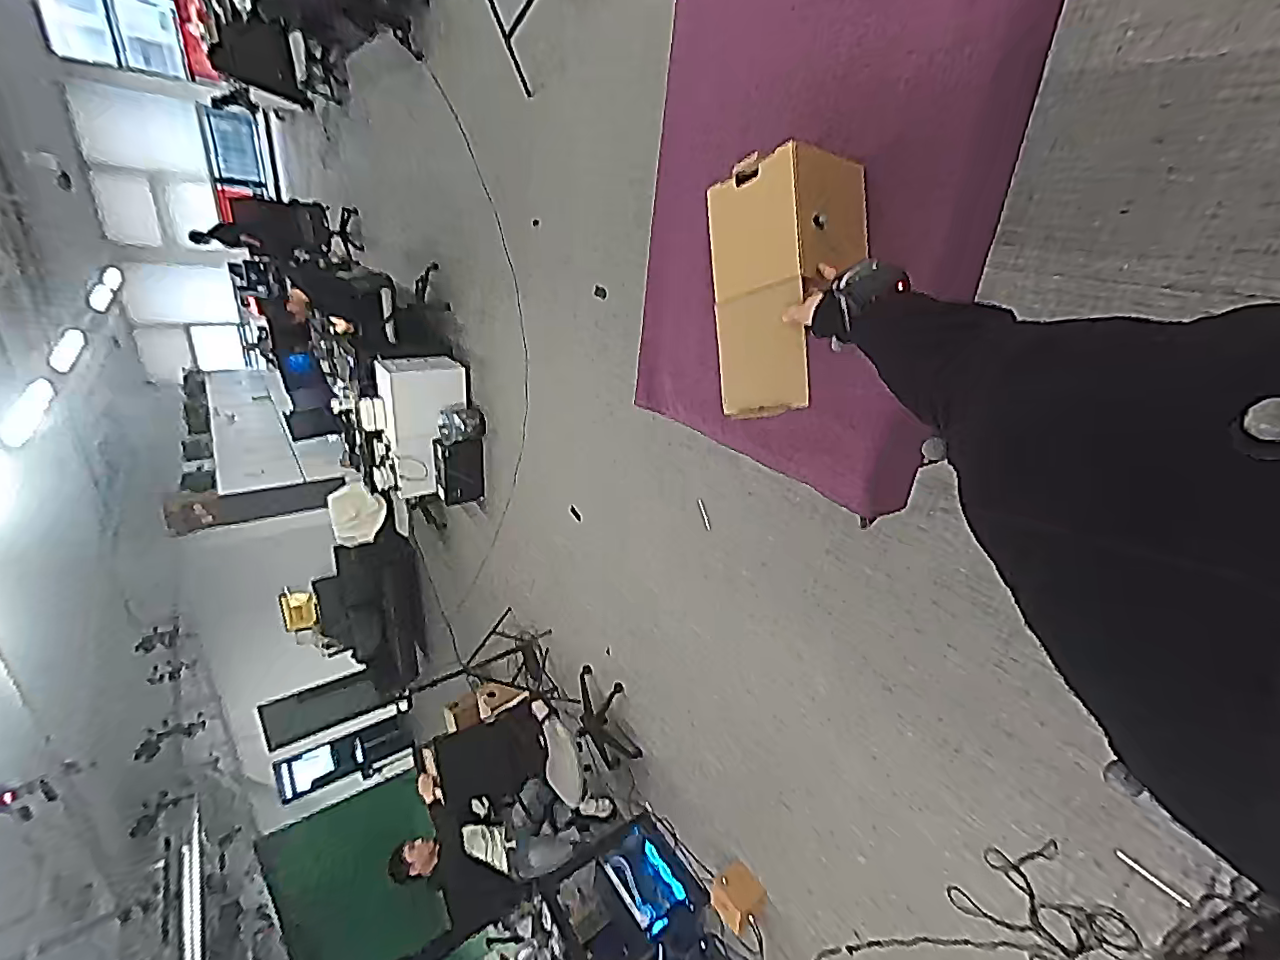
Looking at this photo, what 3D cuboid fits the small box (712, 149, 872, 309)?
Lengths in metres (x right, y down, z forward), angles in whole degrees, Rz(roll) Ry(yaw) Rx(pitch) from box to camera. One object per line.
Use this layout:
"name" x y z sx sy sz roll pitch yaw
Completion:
"small box" 0.233 -0.366 0.824 0.168 0.176 0.179 2 101 54
